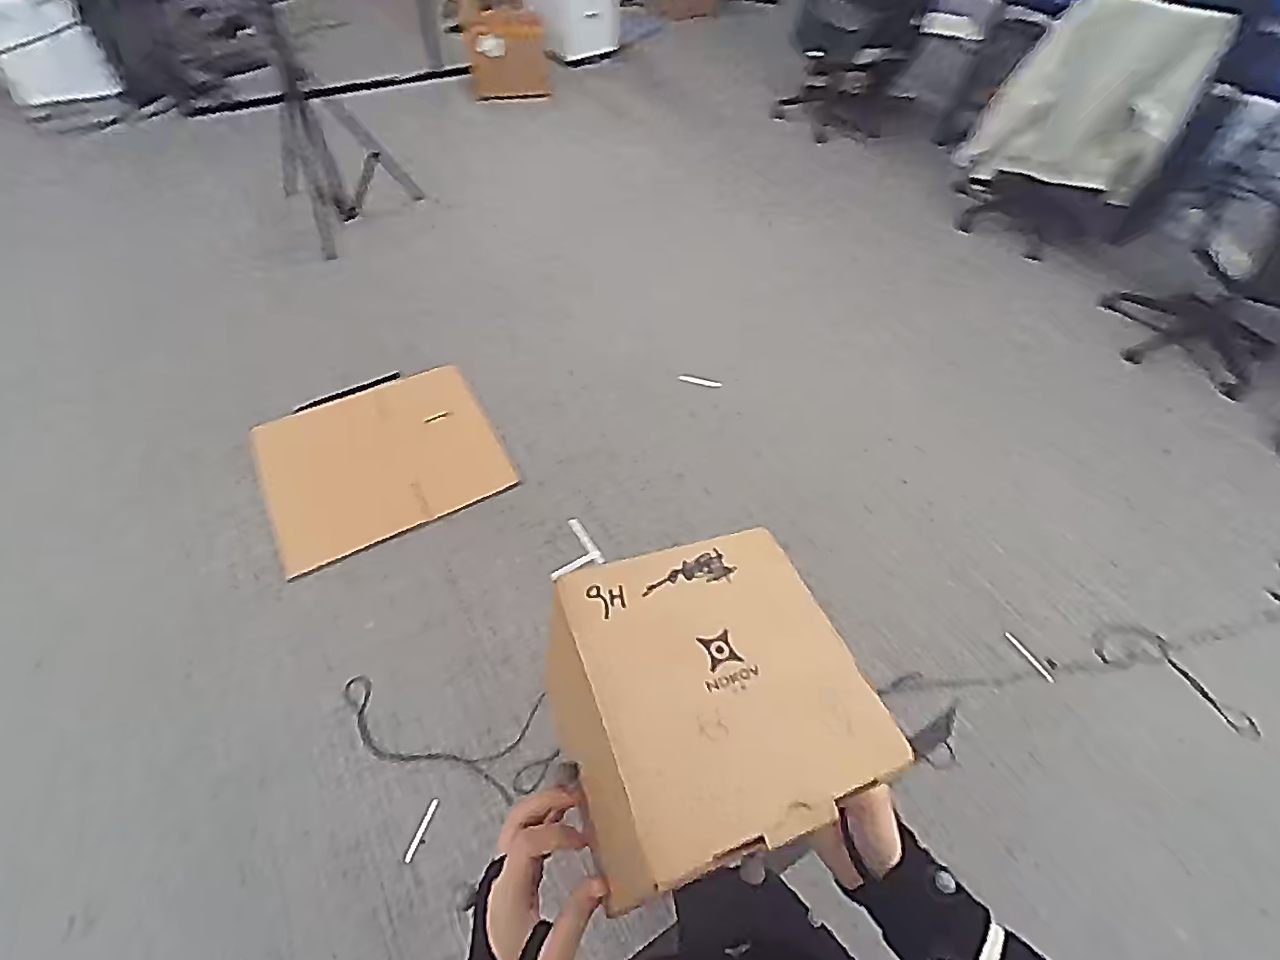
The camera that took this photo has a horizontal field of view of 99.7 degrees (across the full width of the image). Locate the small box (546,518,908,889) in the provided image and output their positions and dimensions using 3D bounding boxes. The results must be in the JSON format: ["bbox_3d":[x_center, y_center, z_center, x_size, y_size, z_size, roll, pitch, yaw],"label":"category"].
[{"bbox_3d":[0.035,0.157,0.383,0.168,0.176,0.179,-11,53,-22],"label":"small box"}]
